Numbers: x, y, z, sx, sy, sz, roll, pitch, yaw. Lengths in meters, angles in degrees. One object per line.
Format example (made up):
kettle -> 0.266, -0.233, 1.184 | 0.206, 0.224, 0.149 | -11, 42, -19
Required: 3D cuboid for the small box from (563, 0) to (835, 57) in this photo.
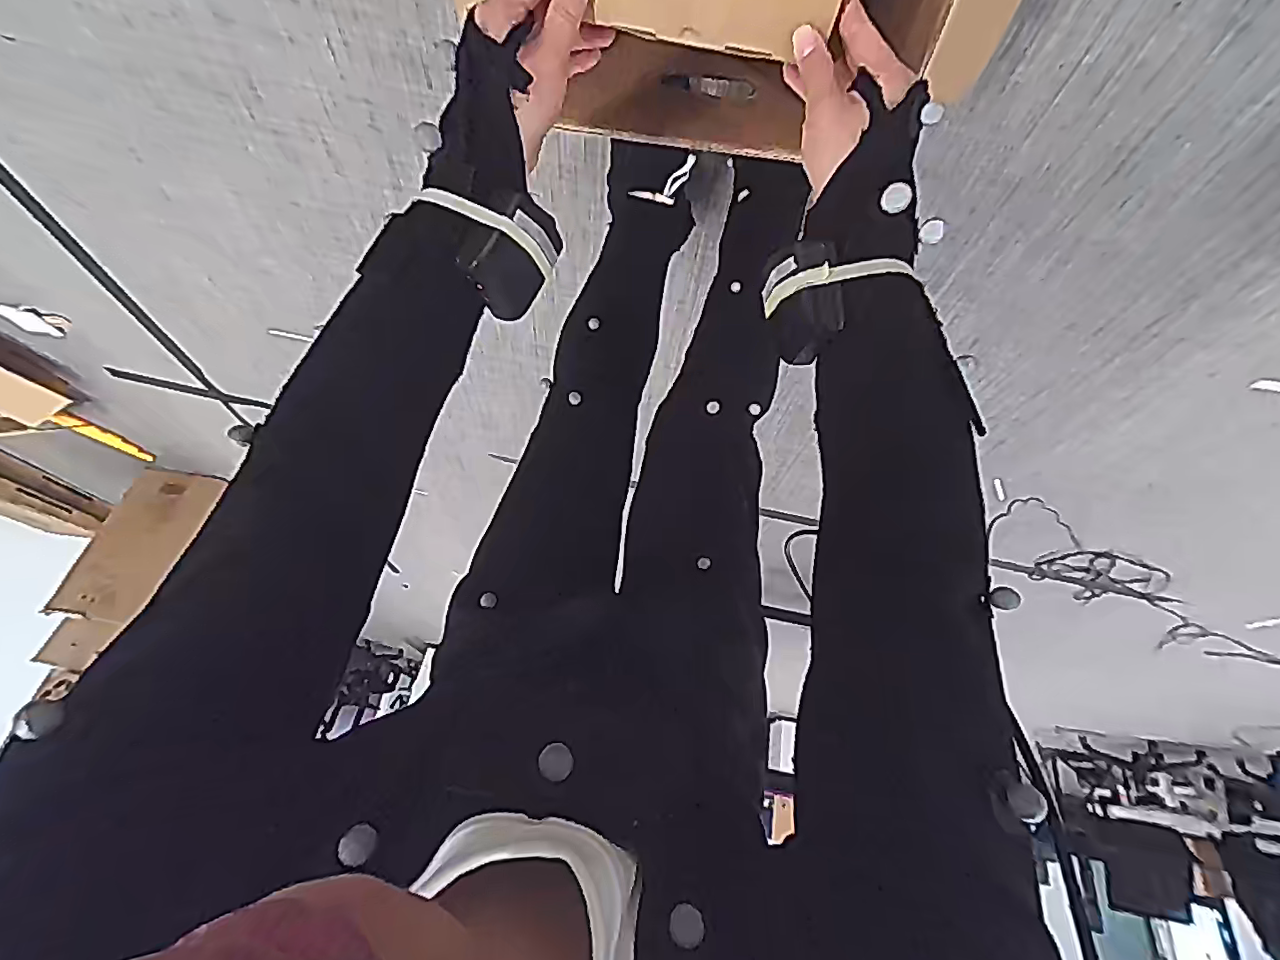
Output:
small box -> 0.051, -0.387, 0.298 | 0.168, 0.176, 0.179 | 11, 151, 0
